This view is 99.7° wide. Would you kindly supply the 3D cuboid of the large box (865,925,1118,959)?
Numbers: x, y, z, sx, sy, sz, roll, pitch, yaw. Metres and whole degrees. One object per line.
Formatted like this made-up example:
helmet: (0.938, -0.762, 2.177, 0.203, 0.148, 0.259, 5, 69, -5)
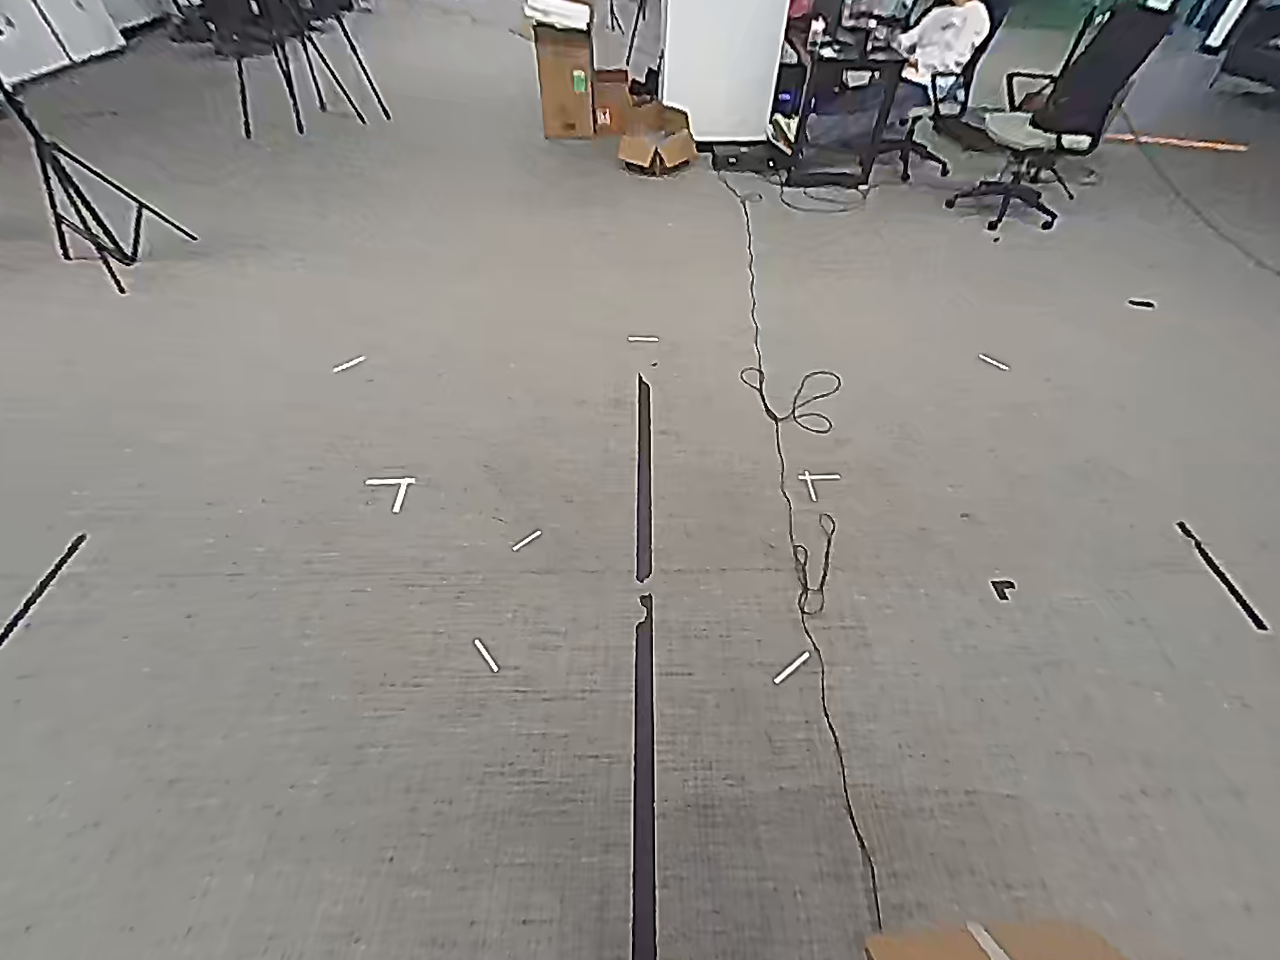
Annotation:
large box: (0.477, 0.764, 0.558, 0.320, 0.408, 0.320, -7, 81, 3)
